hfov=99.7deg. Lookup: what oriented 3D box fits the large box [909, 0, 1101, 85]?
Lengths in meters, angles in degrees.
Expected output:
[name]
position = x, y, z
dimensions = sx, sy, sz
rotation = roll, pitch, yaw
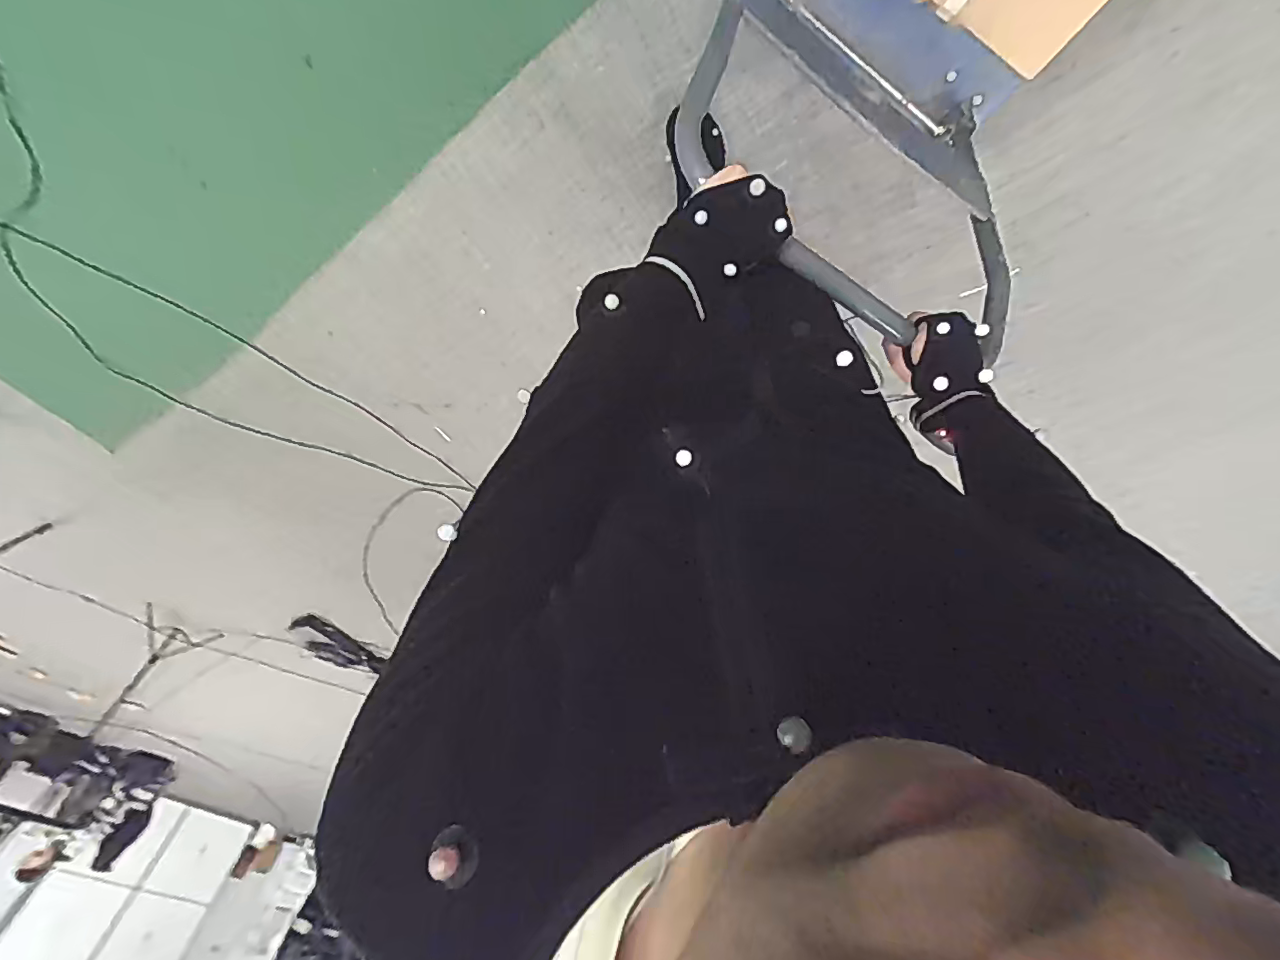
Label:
[large box]
position = 0.500, -0.809, 0.647
dimensions = 0.320, 0.320, 0.408
rotation = 25, 141, -15
